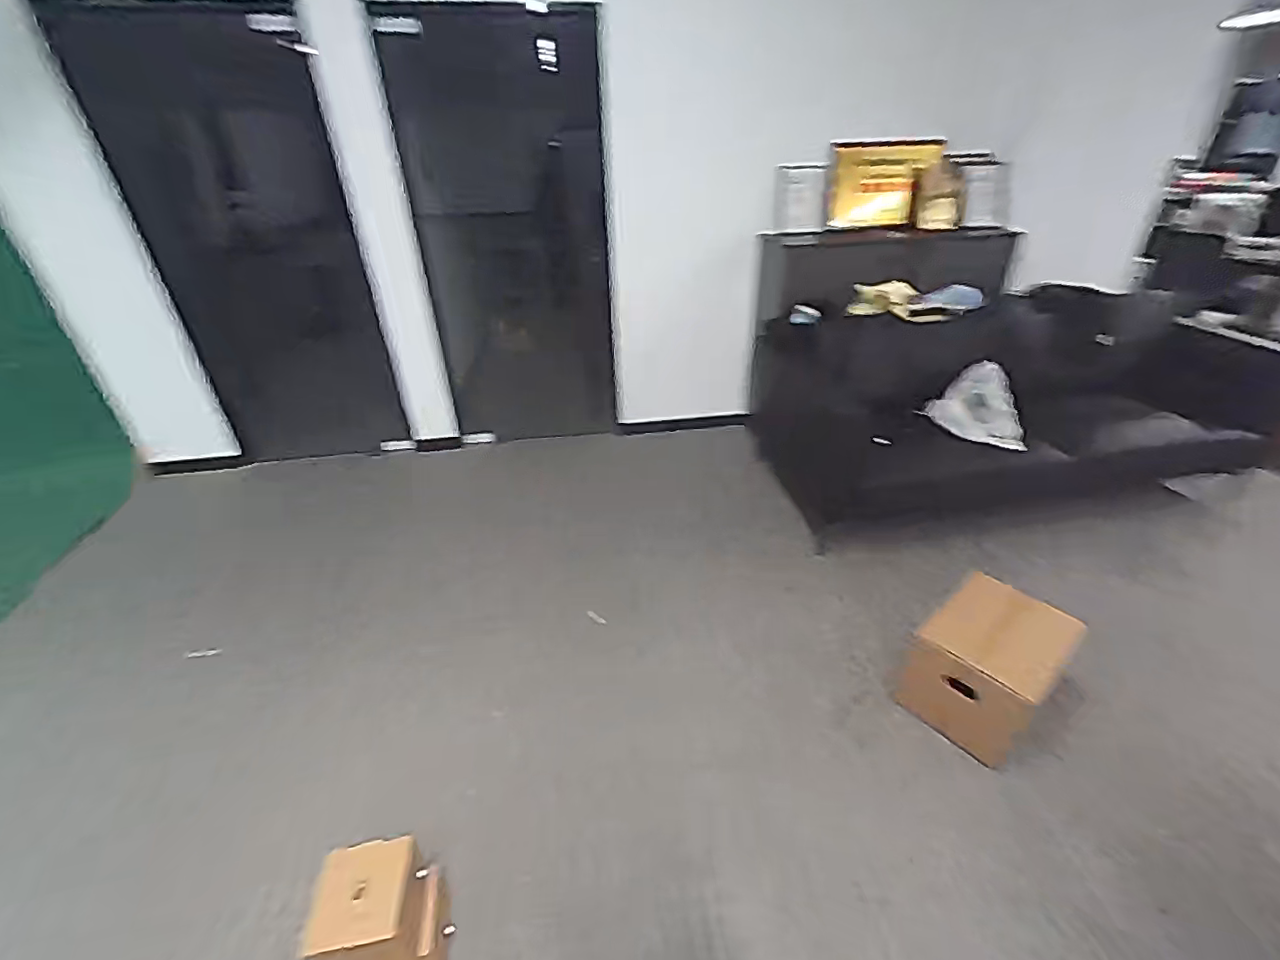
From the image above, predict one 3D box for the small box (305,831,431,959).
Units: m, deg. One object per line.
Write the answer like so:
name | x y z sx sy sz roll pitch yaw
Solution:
small box | -0.530 0.849 1.084 0.168 0.176 0.179 -6 33 -7
